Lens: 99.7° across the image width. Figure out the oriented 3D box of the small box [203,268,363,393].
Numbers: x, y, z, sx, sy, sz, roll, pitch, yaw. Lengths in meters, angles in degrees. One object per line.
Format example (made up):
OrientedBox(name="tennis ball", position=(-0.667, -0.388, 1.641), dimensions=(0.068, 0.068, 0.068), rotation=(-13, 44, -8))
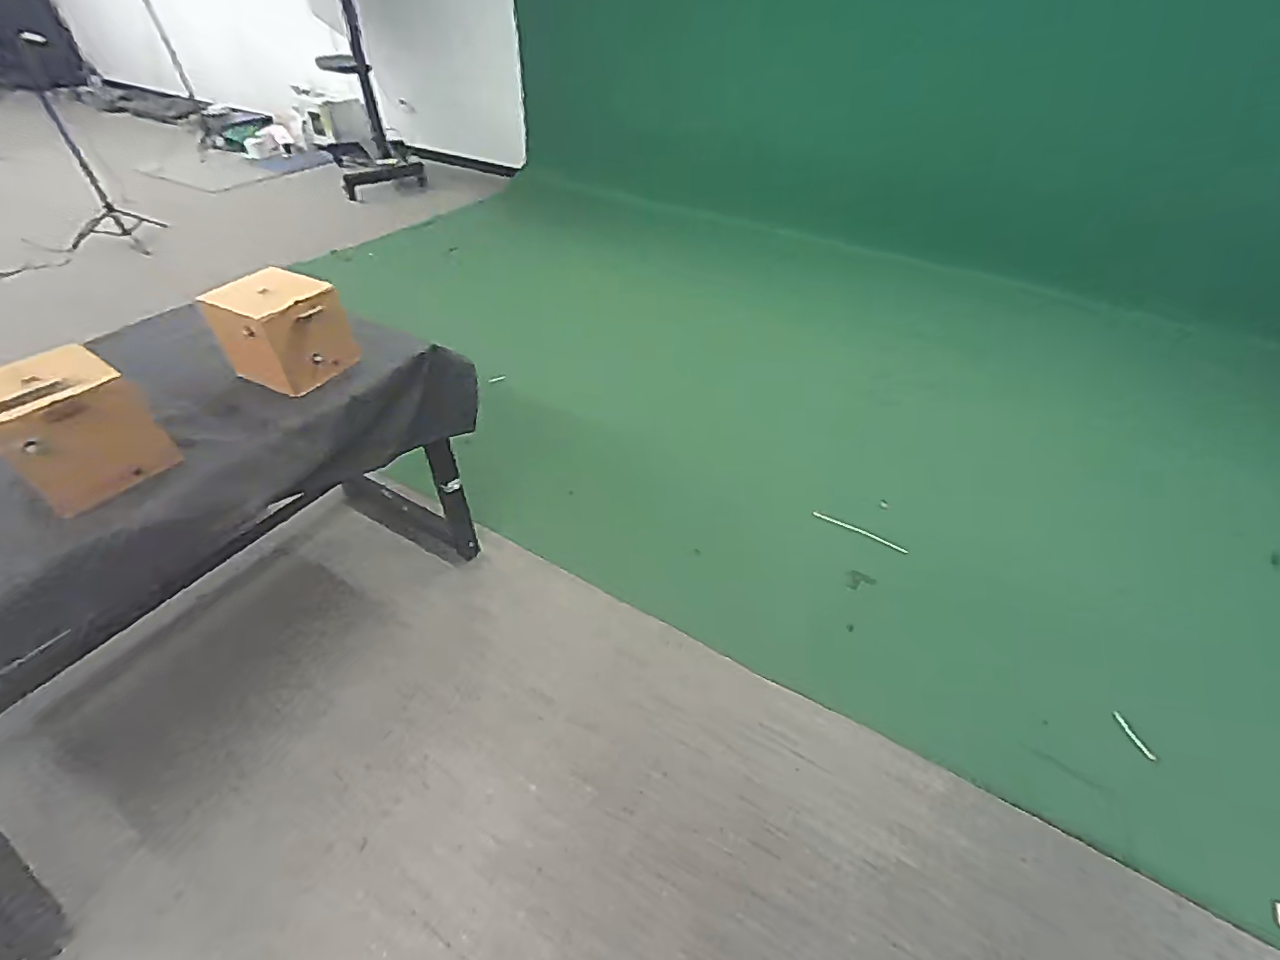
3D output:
OrientedBox(name="small box", position=(-0.695, -0.295, 1.072), dimensions=(0.179, 0.176, 0.168), rotation=(20, 47, 17))
